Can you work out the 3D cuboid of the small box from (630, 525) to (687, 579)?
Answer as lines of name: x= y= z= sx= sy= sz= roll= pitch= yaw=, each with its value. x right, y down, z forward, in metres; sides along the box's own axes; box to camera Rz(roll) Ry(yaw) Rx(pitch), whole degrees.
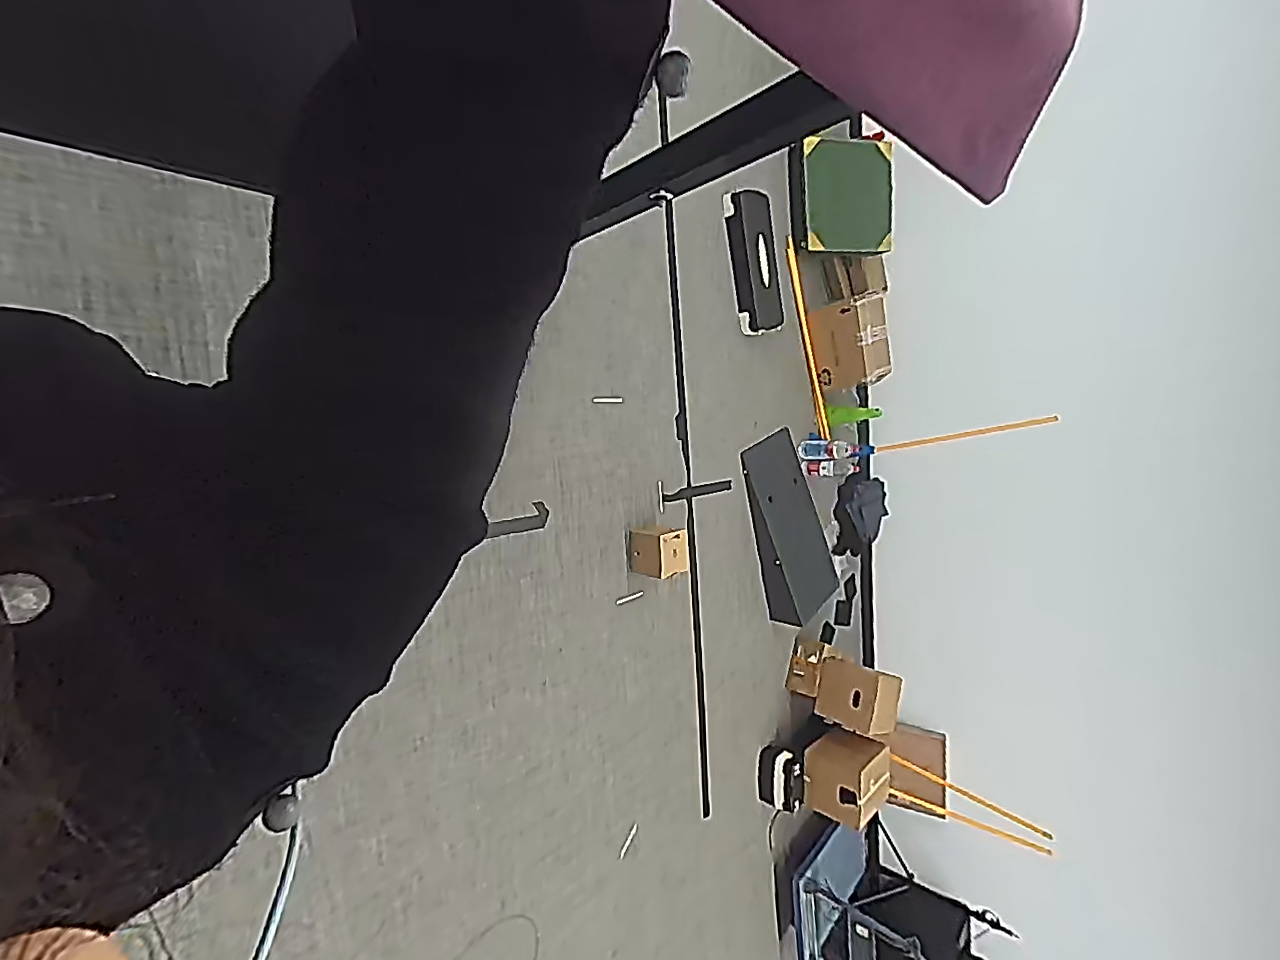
small box: x=0.074 y=0.286 z=2.182 sx=0.168 sy=0.176 sz=0.179 roll=-8 pitch=98 yaw=-46
